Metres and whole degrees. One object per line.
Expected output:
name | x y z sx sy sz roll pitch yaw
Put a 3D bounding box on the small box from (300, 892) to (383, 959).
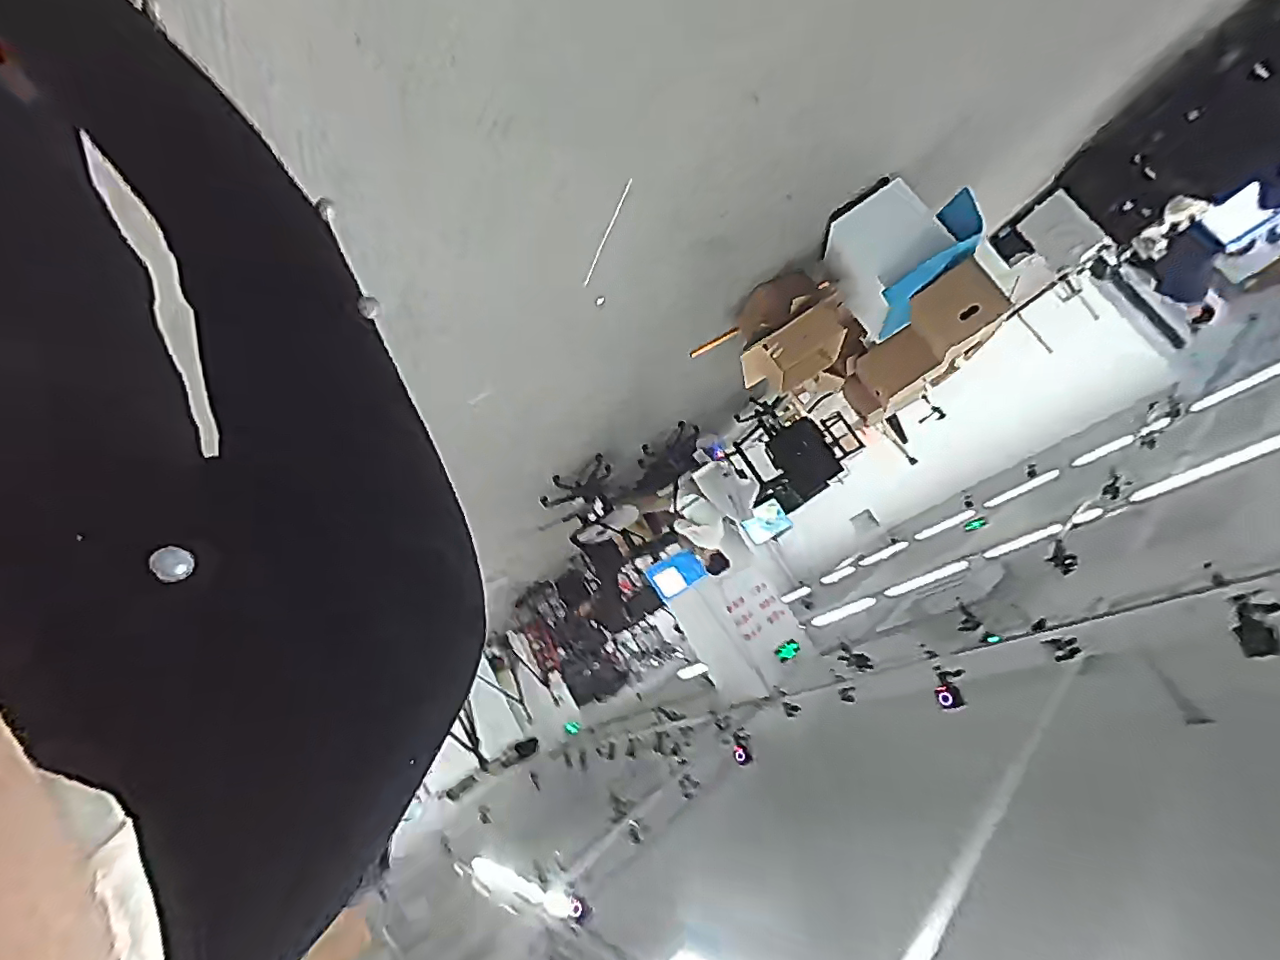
small box | -0.944 1.444 1.710 0.179 0.176 0.168 -23 164 -38
